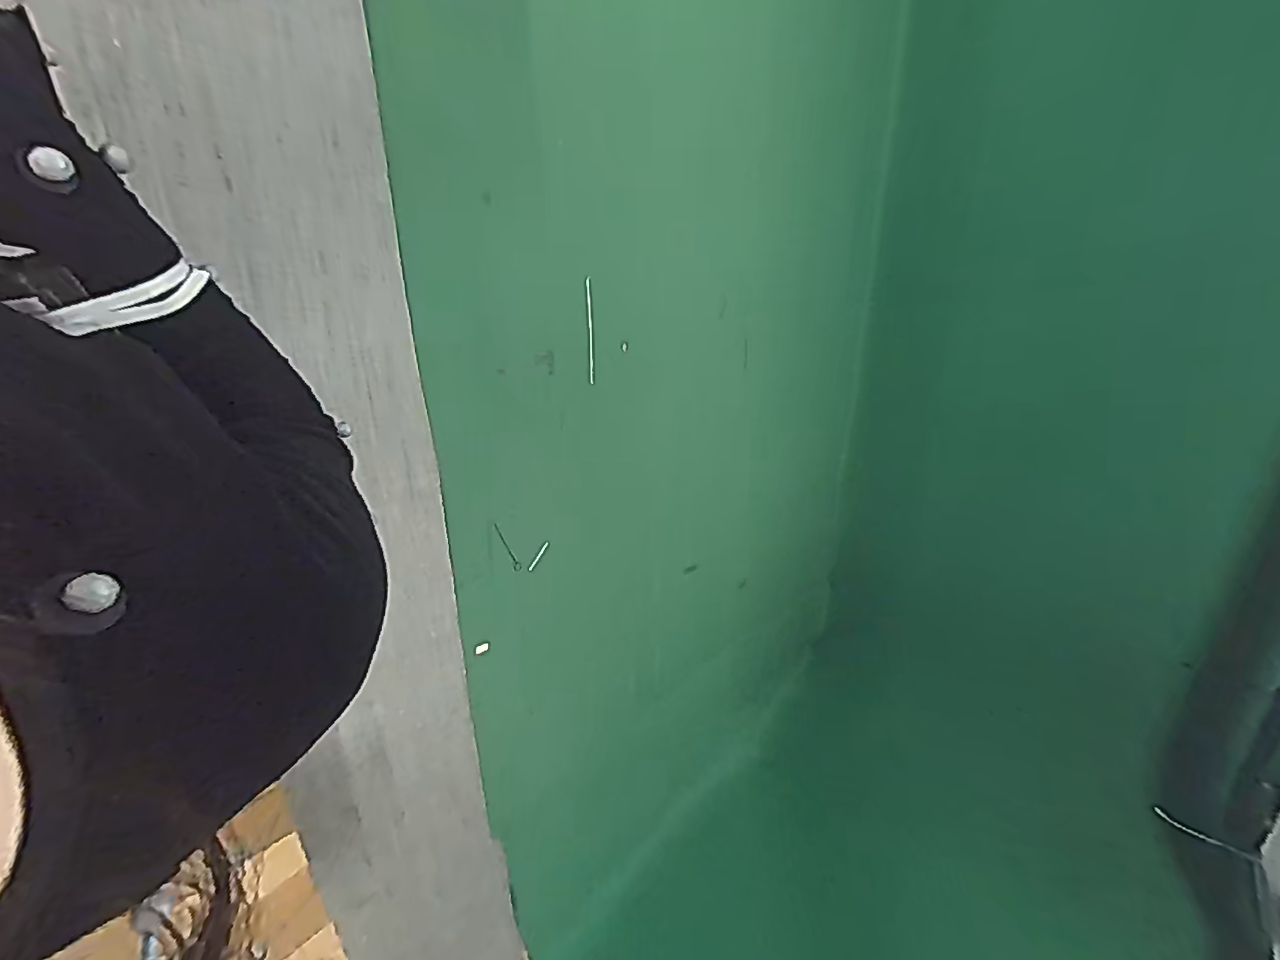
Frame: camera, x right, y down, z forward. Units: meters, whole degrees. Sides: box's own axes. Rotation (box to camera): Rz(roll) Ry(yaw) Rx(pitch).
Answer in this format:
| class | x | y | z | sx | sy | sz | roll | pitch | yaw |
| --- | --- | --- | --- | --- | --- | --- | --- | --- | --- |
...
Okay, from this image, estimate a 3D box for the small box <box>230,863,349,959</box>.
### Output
| class | x | y | z | sx | sy | sz | roll | pitch | yaw |
| --- | --- | --- | --- | --- | --- | --- | --- | --- | --- |
| small box | -0.797 | 1.036 | 1.225 | 0.179 | 0.176 | 0.168 | -23 | 123 | -42 |
